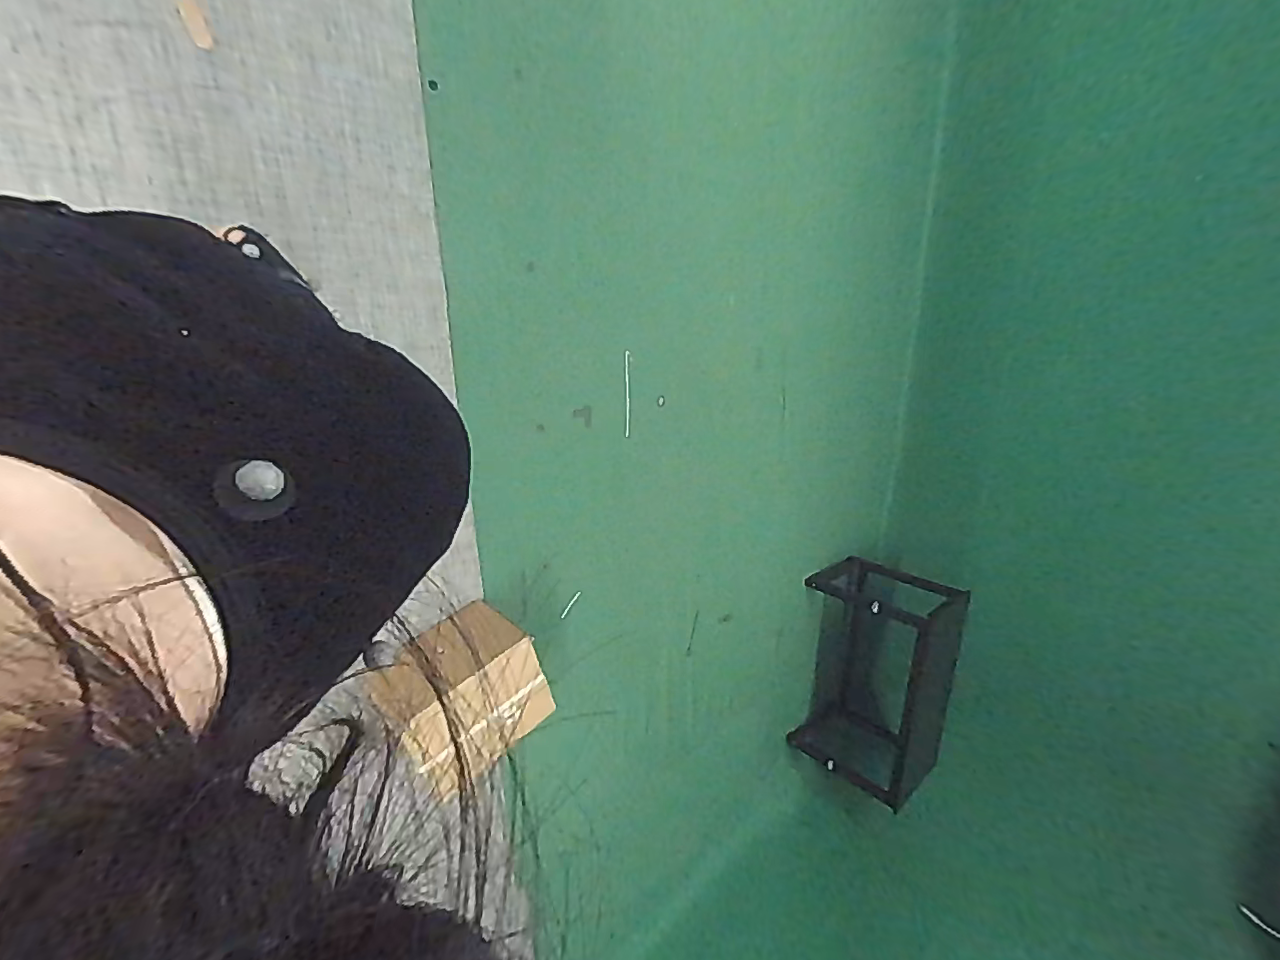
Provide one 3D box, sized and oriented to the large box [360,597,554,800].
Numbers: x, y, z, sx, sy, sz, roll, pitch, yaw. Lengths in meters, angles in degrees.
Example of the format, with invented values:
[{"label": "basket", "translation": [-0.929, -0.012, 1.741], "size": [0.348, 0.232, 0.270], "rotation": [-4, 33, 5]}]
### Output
[{"label": "large box", "translation": [-0.537, 0.626, 1.617], "size": [0.408, 0.320, 0.320], "rotation": [-32, 123, -34]}]
